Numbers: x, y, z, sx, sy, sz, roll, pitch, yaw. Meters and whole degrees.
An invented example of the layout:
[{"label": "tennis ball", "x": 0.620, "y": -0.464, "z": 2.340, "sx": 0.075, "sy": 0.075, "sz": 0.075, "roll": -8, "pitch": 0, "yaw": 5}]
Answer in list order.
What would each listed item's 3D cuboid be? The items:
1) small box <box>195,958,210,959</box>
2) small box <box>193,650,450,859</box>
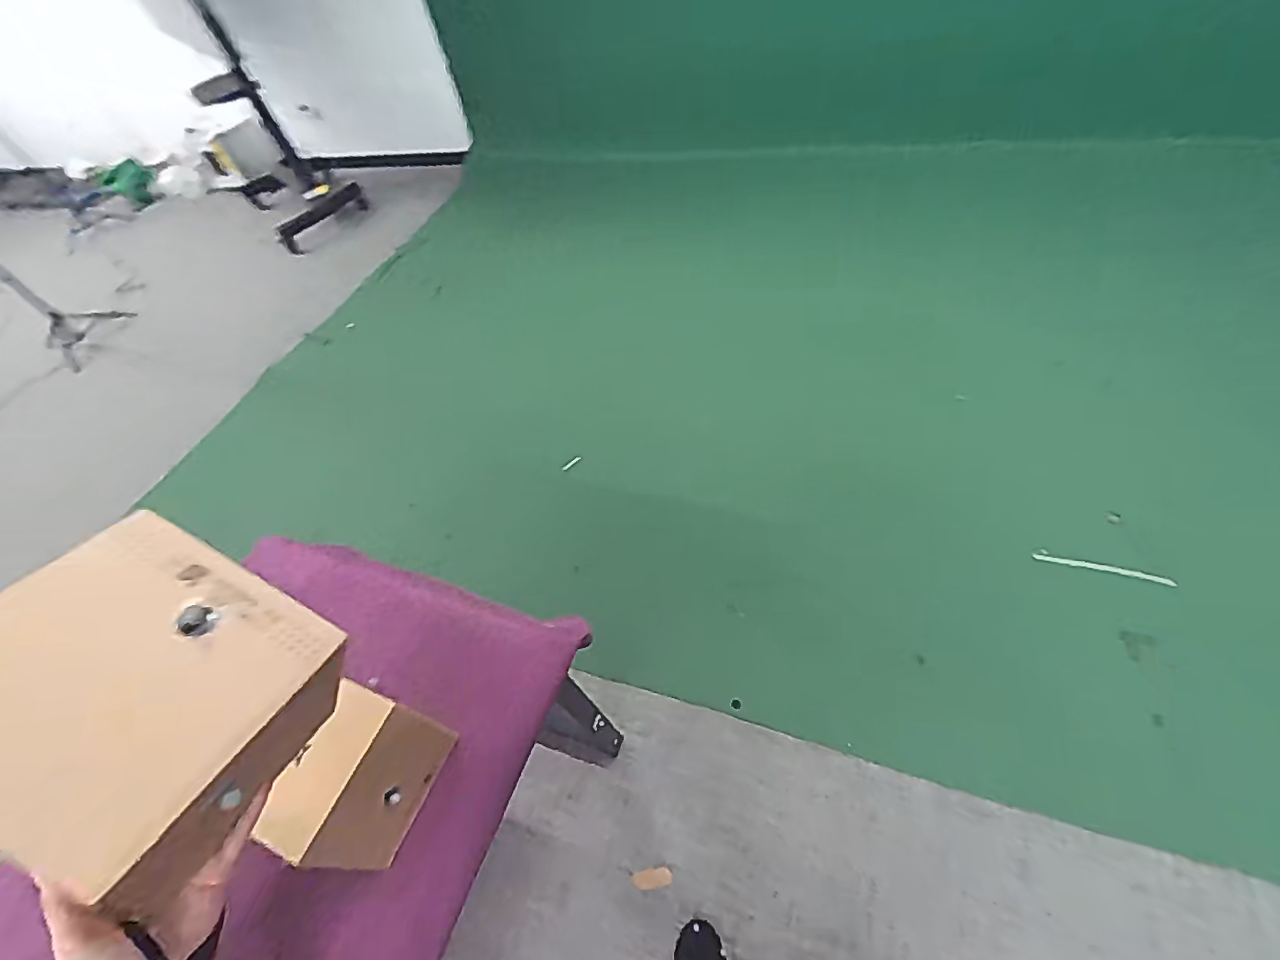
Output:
[{"label": "small box", "x": -0.482, "y": 0.588, "z": 0.508, "sx": 0.179, "sy": 0.176, "sz": 0.168, "roll": 8, "pitch": 56, "yaw": 19}, {"label": "small box", "x": -0.373, "y": 0.340, "z": 0.670, "sx": 0.179, "sy": 0.176, "sz": 0.168, "roll": 13, "pitch": 57, "yaw": 21}]
